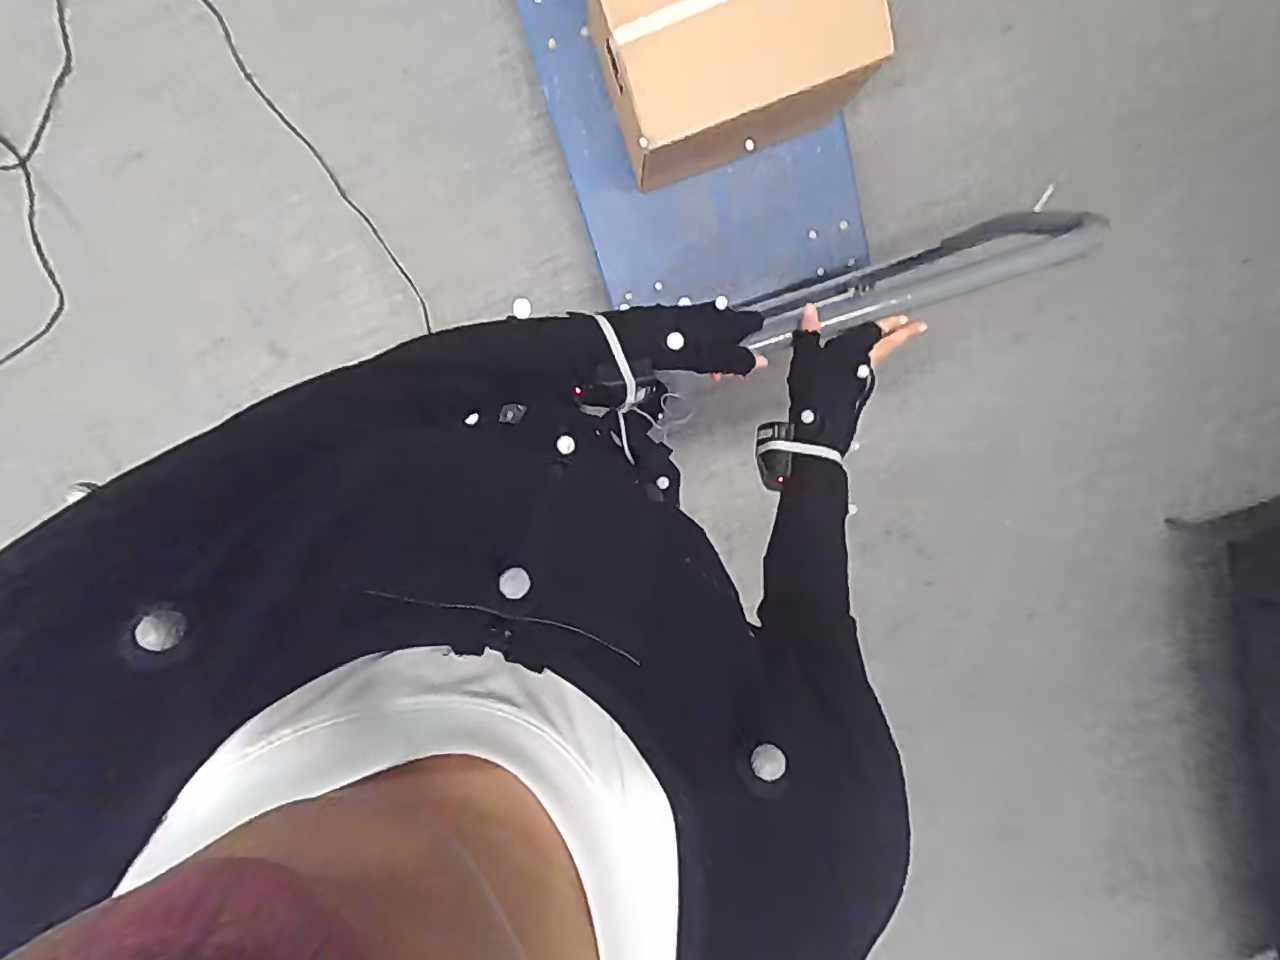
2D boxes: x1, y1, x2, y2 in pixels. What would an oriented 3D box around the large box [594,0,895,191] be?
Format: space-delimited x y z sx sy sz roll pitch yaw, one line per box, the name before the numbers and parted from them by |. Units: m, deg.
large box | 0.158 -0.772 0.954 0.408 0.320 0.320 -20 105 5
